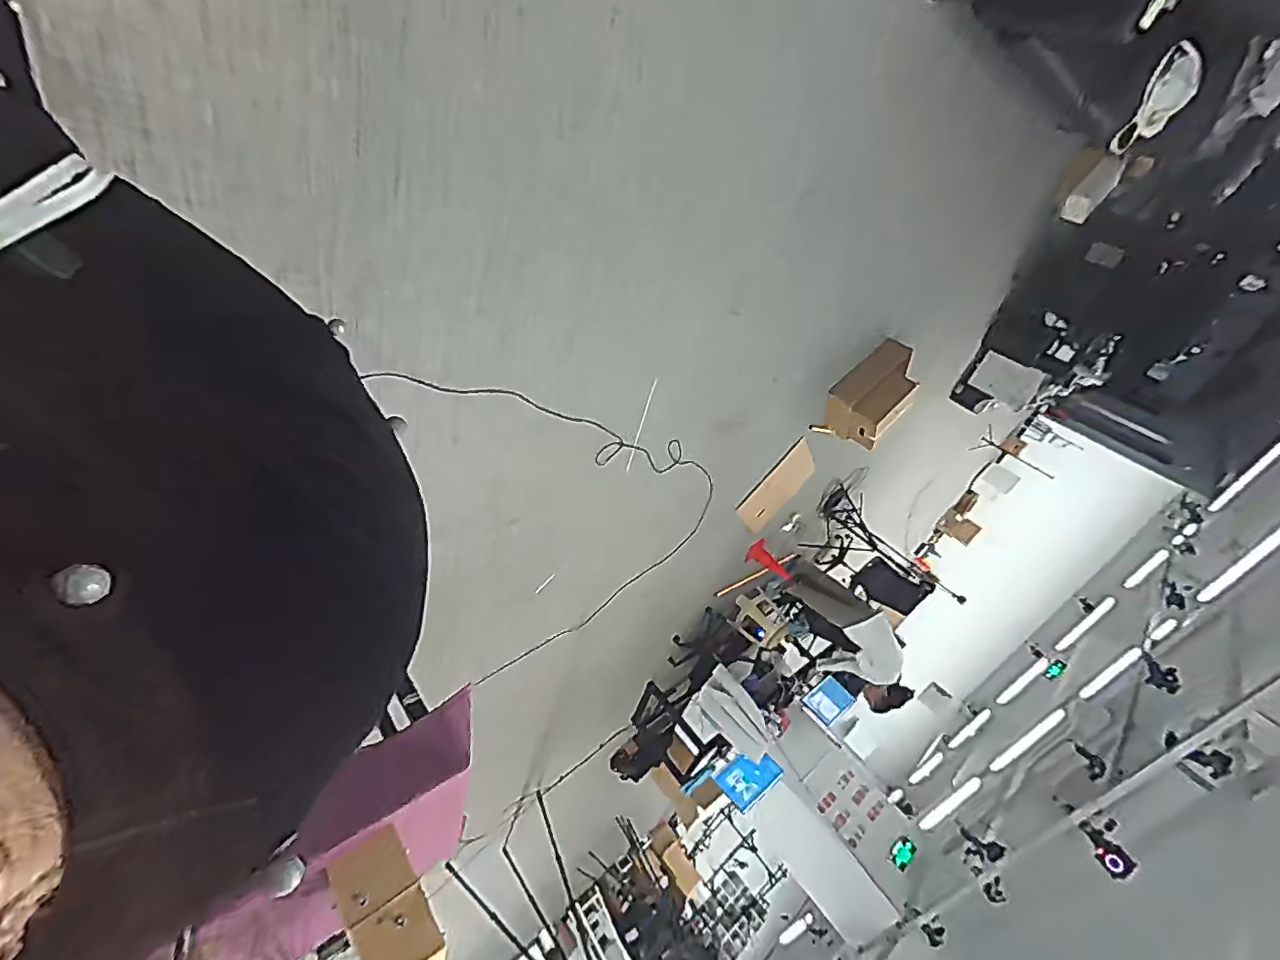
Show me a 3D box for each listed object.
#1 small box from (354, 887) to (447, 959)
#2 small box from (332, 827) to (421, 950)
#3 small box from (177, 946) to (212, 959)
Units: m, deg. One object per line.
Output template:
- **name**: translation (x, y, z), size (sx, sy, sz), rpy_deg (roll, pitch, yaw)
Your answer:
- **small box**: translation (-0.600, 1.176, 1.356), size (0.168, 0.176, 0.179), rpy_deg (-17, 137, -38)
- **small box**: translation (-0.703, 1.078, 1.437), size (0.179, 0.176, 0.168), rpy_deg (-17, 138, -39)
- **small box**: translation (-1.013, 1.165, 1.162), size (0.179, 0.176, 0.168), rpy_deg (-15, 136, -40)
